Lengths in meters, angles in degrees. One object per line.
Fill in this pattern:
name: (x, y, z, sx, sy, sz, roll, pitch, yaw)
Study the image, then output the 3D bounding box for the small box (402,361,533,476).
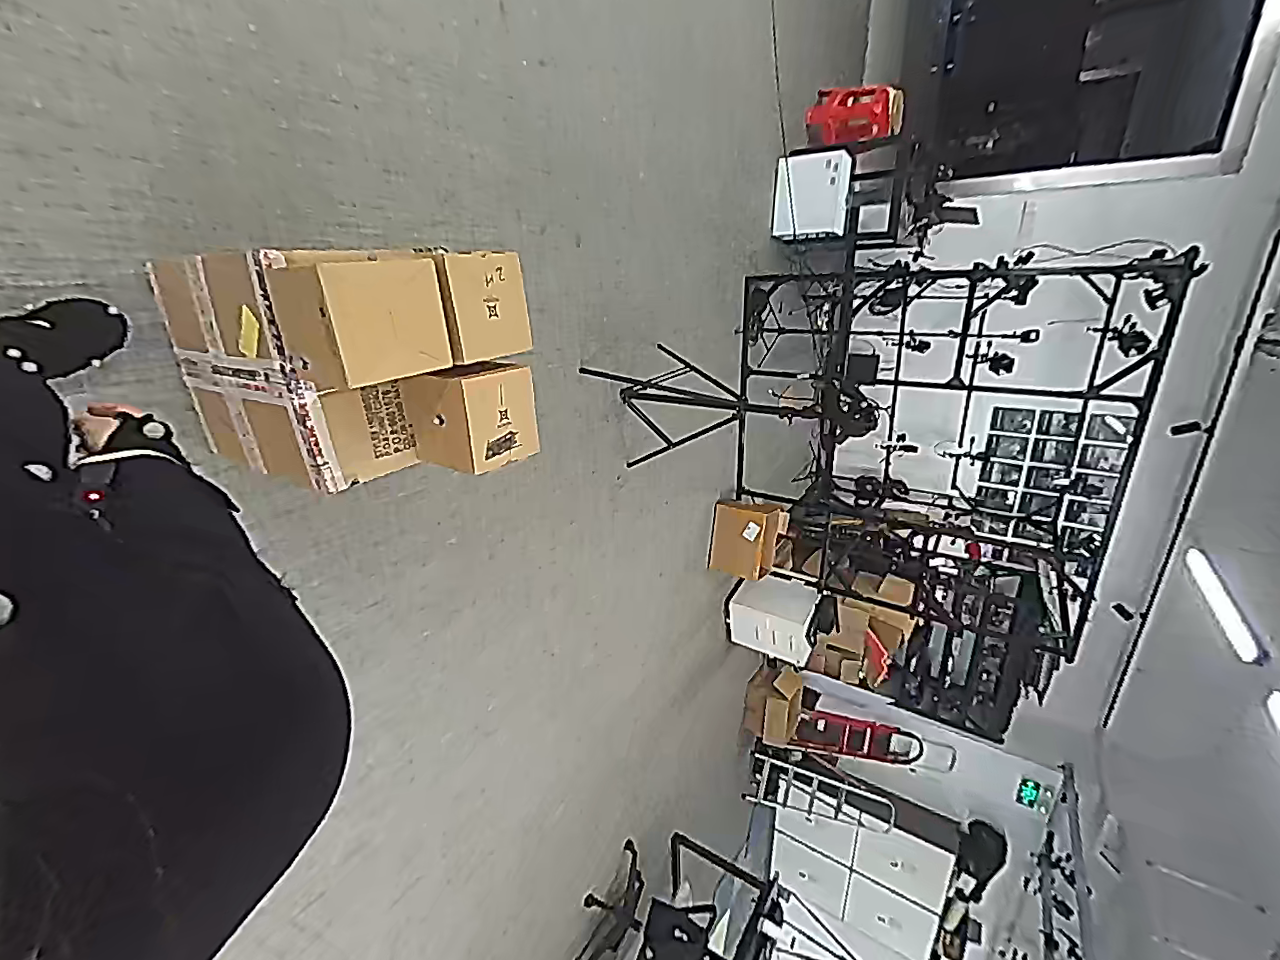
small box: (-0.328, -0.126, 1.040, 0.168, 0.176, 0.179, -29, 125, -50)
